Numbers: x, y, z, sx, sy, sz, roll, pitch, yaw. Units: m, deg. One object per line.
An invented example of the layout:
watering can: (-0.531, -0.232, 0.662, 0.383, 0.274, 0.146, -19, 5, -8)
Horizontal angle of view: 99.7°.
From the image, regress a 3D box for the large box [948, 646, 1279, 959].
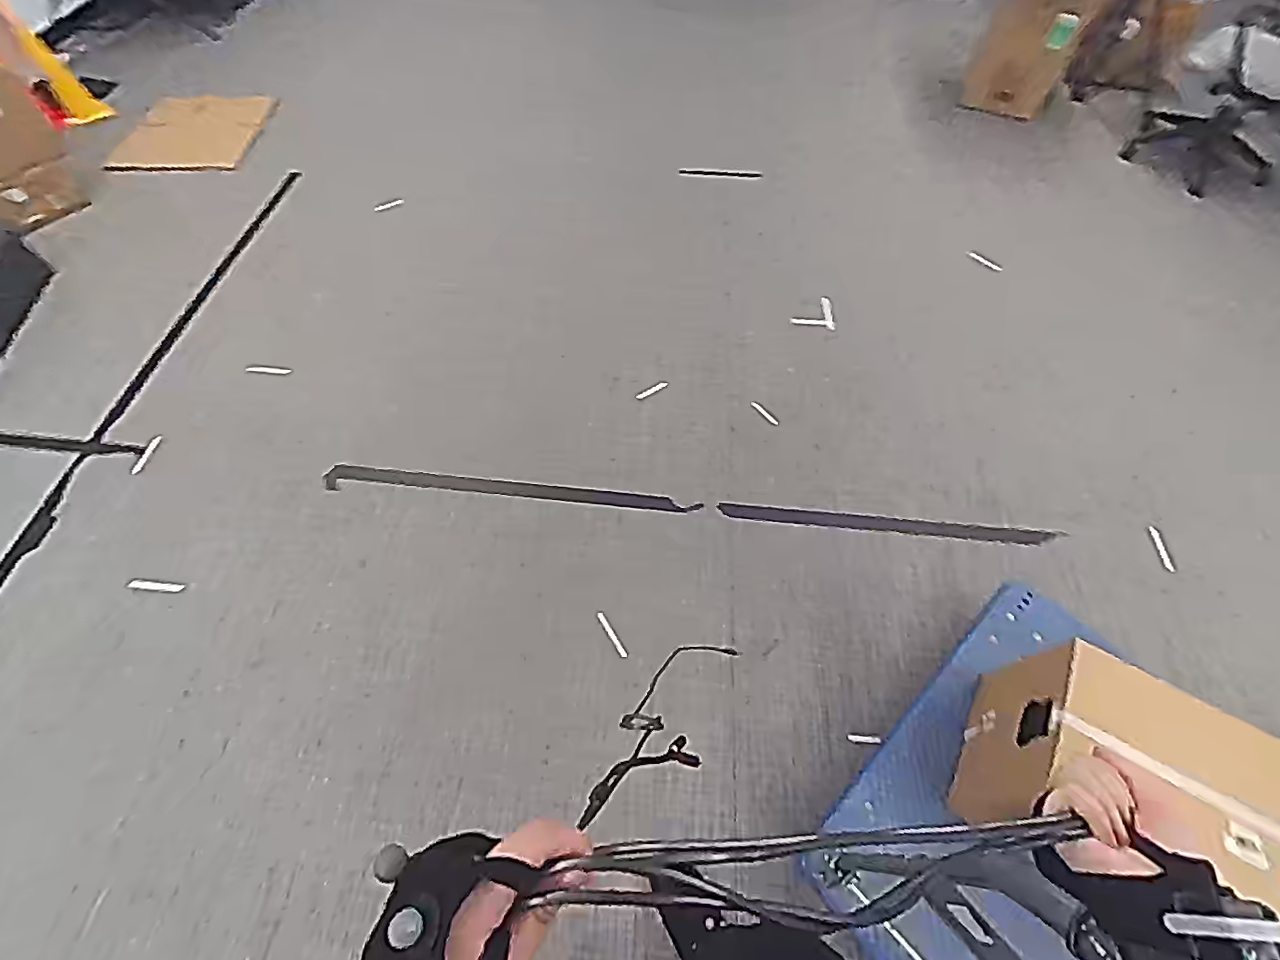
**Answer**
large box: (0.858, 0.567, 0.971, 0.408, 0.320, 0.320, 29, 63, 15)
